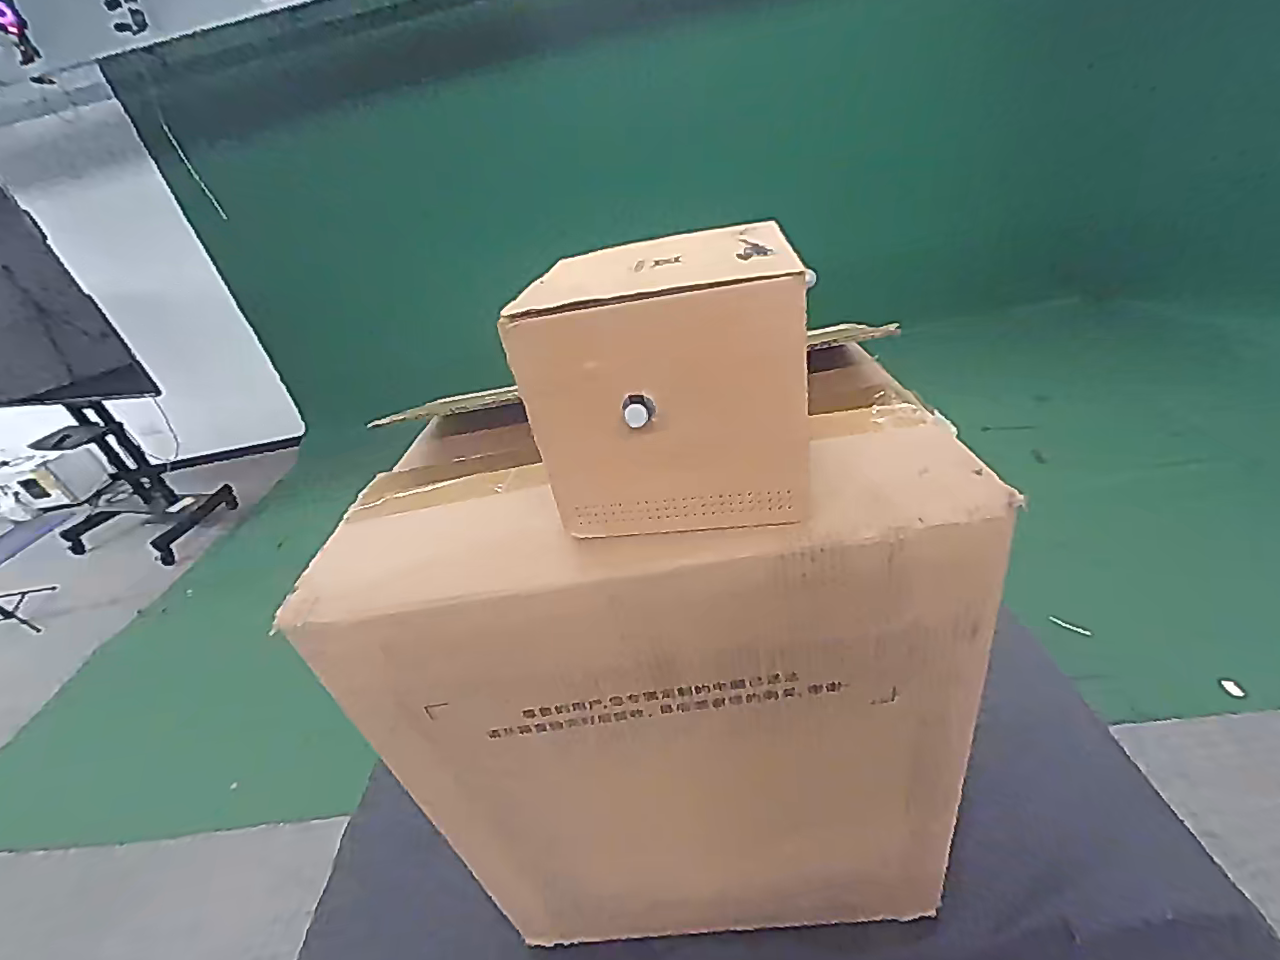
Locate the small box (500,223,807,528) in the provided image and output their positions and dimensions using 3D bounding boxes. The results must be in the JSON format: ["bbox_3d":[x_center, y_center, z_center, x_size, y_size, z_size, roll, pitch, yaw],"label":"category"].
[{"bbox_3d":[0.025,-0.077,0.410,0.179,0.176,0.168,-6,33,11],"label":"small box"}]
